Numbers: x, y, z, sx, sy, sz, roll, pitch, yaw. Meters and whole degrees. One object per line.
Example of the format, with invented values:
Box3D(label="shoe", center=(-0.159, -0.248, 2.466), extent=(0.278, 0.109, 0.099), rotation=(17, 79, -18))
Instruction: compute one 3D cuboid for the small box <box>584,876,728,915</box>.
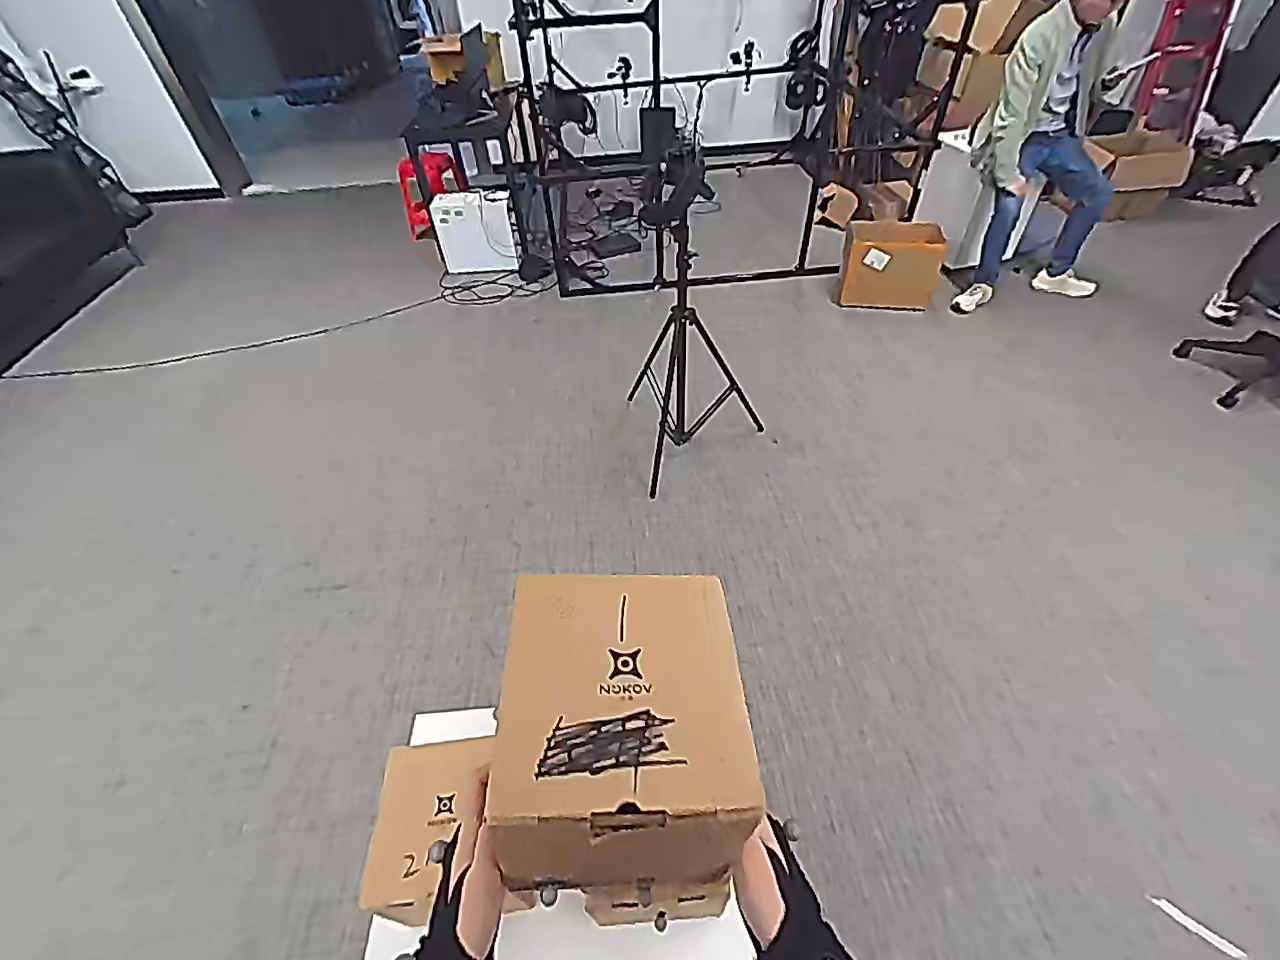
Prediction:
Box3D(label="small box", center=(0.019, 0.455, 0.711), extent=(0.168, 0.176, 0.179), rotation=(-4, 47, -1))

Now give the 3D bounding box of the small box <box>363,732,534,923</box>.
Box3D(label="small box", center=(-0.236, 0.462, 0.722), extent=(0.168, 0.176, 0.179), rotation=(-7, 46, -3))

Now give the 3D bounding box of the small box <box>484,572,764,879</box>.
Box3D(label="small box", center=(-0.016, 0.192, 0.423), extent=(0.168, 0.176, 0.179), rotation=(1, 42, -5))

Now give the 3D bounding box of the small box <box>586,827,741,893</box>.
Box3D(label="small box", center=(0.011, 0.334, 0.604), extent=(0.168, 0.176, 0.179), rotation=(-6, 46, 0))
